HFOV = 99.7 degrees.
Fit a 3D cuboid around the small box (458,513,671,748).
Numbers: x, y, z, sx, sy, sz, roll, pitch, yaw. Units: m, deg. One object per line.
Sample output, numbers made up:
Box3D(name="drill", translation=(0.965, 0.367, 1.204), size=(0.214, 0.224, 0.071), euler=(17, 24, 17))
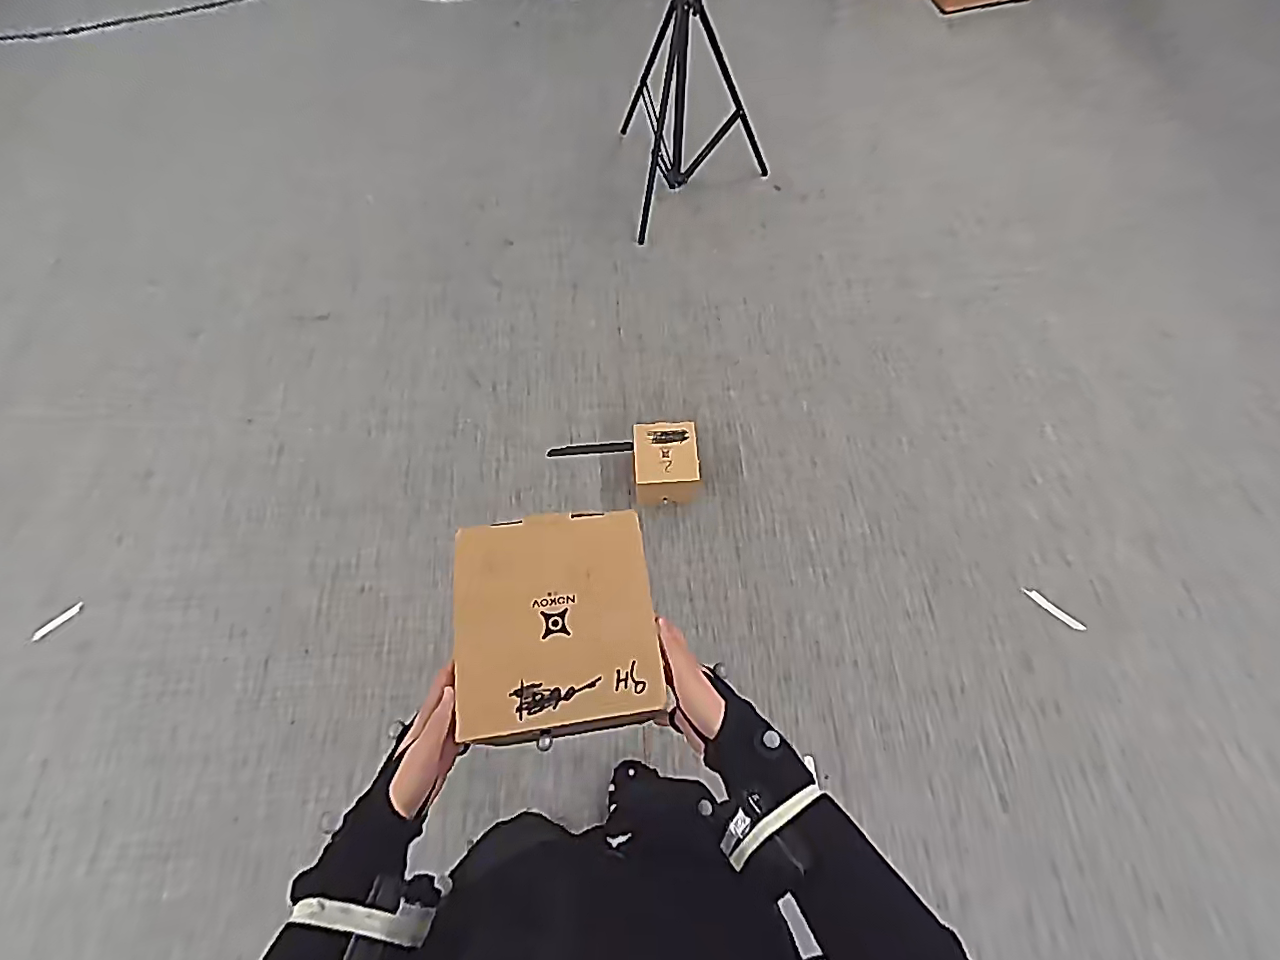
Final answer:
Box3D(name="small box", translation=(-0.074, 0.150, 0.522), size=(0.168, 0.176, 0.179), euler=(-6, 63, -8))
